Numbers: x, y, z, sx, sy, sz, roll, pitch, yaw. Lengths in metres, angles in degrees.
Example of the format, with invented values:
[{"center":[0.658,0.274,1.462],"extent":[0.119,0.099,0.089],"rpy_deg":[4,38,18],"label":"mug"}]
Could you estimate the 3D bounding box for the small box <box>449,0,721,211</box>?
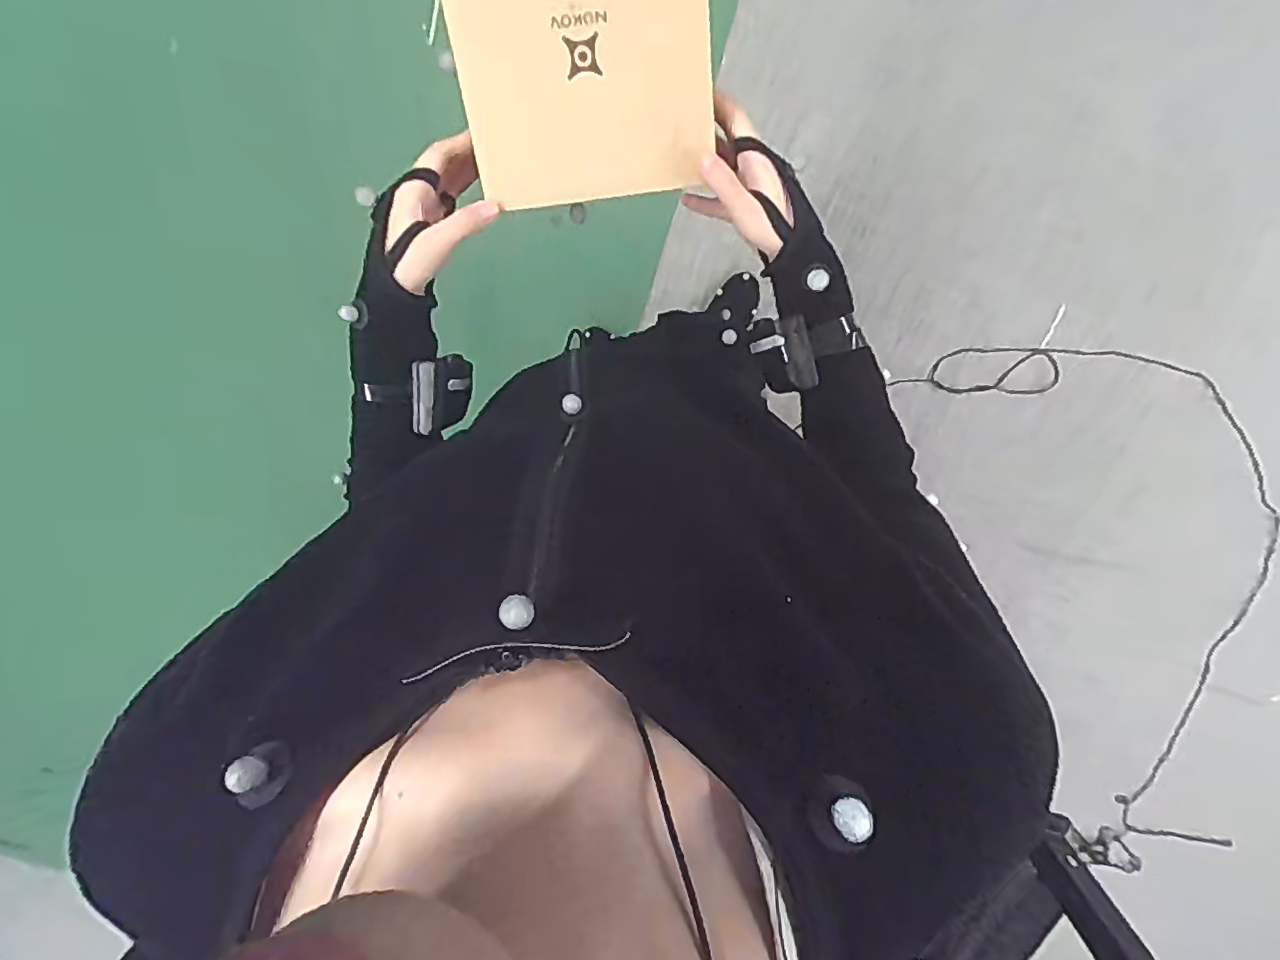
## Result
[{"center":[-0.036,-0.310,0.407],"extent":[0.168,0.176,0.179],"rpy_deg":[-8,117,0],"label":"small box"}]
